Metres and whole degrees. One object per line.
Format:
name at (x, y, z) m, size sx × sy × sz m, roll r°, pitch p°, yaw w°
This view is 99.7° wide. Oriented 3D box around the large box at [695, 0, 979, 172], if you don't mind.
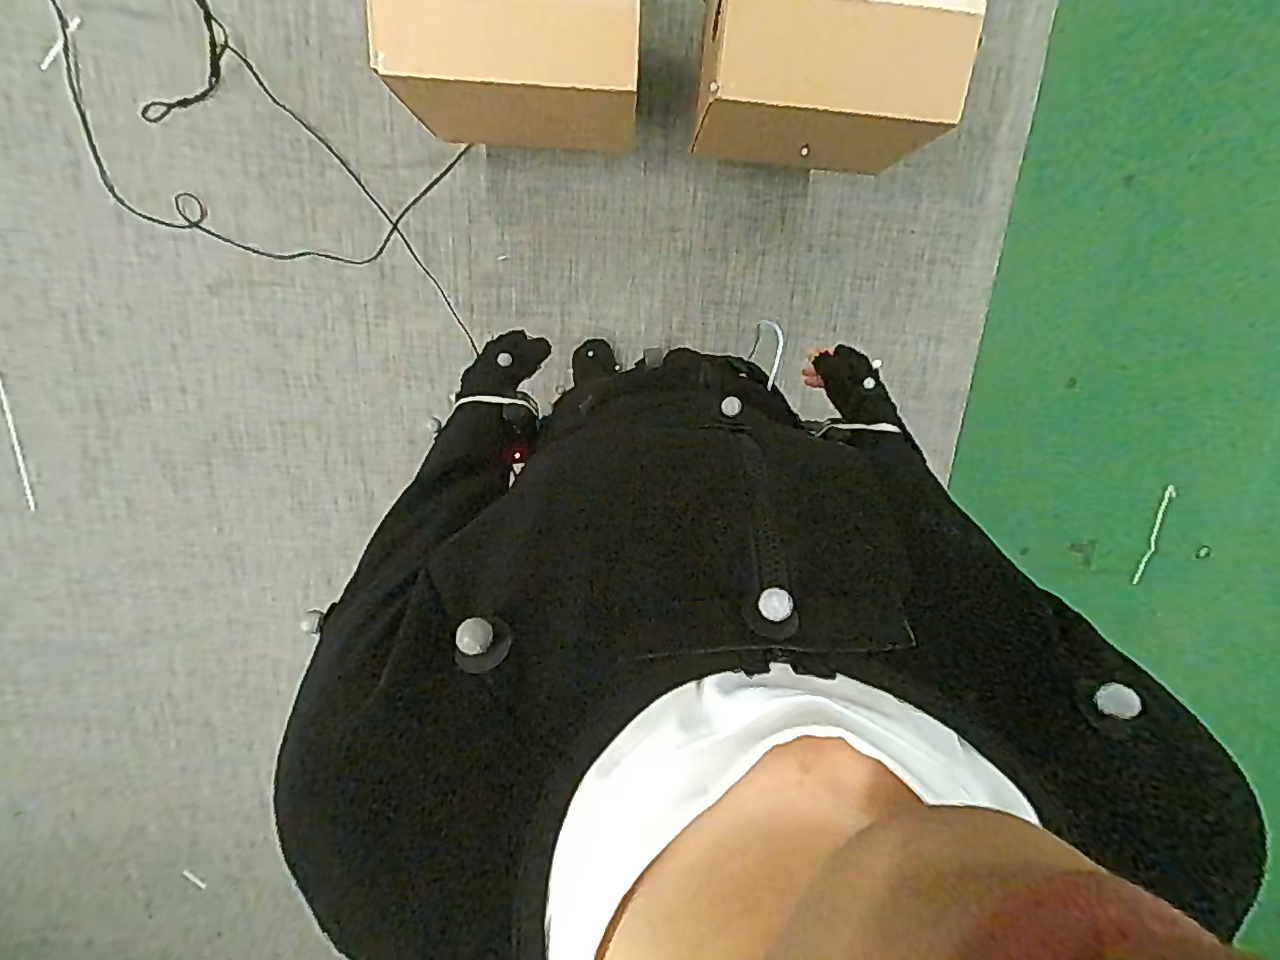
large box at (0.330, -0.783, 0.987) m, size 0.408 × 0.320 × 0.320 m, roll 5°, pitch 105°, yaw -3°
